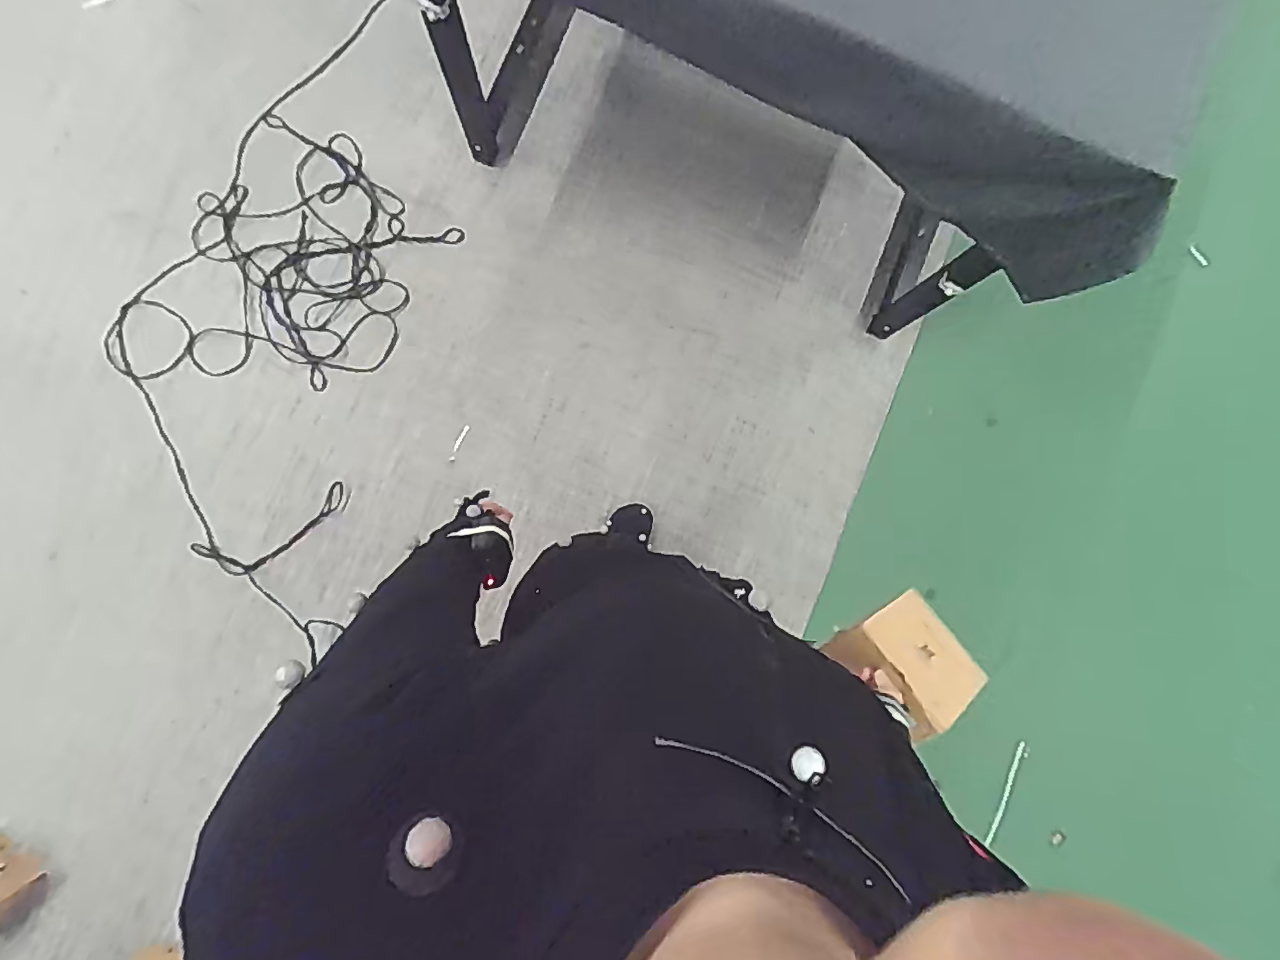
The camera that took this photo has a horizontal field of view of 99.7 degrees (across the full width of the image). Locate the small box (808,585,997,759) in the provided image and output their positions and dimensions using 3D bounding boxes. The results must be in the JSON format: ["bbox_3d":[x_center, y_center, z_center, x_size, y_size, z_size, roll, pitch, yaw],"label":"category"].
[{"bbox_3d":[0.386,0.292,0.823,0.179,0.176,0.168,-13,61,-40],"label":"small box"}]

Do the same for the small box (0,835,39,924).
[{"bbox_3d":[-1.453,0.900,1.131,0.168,0.176,0.179,41,85,-1],"label":"small box"}]
